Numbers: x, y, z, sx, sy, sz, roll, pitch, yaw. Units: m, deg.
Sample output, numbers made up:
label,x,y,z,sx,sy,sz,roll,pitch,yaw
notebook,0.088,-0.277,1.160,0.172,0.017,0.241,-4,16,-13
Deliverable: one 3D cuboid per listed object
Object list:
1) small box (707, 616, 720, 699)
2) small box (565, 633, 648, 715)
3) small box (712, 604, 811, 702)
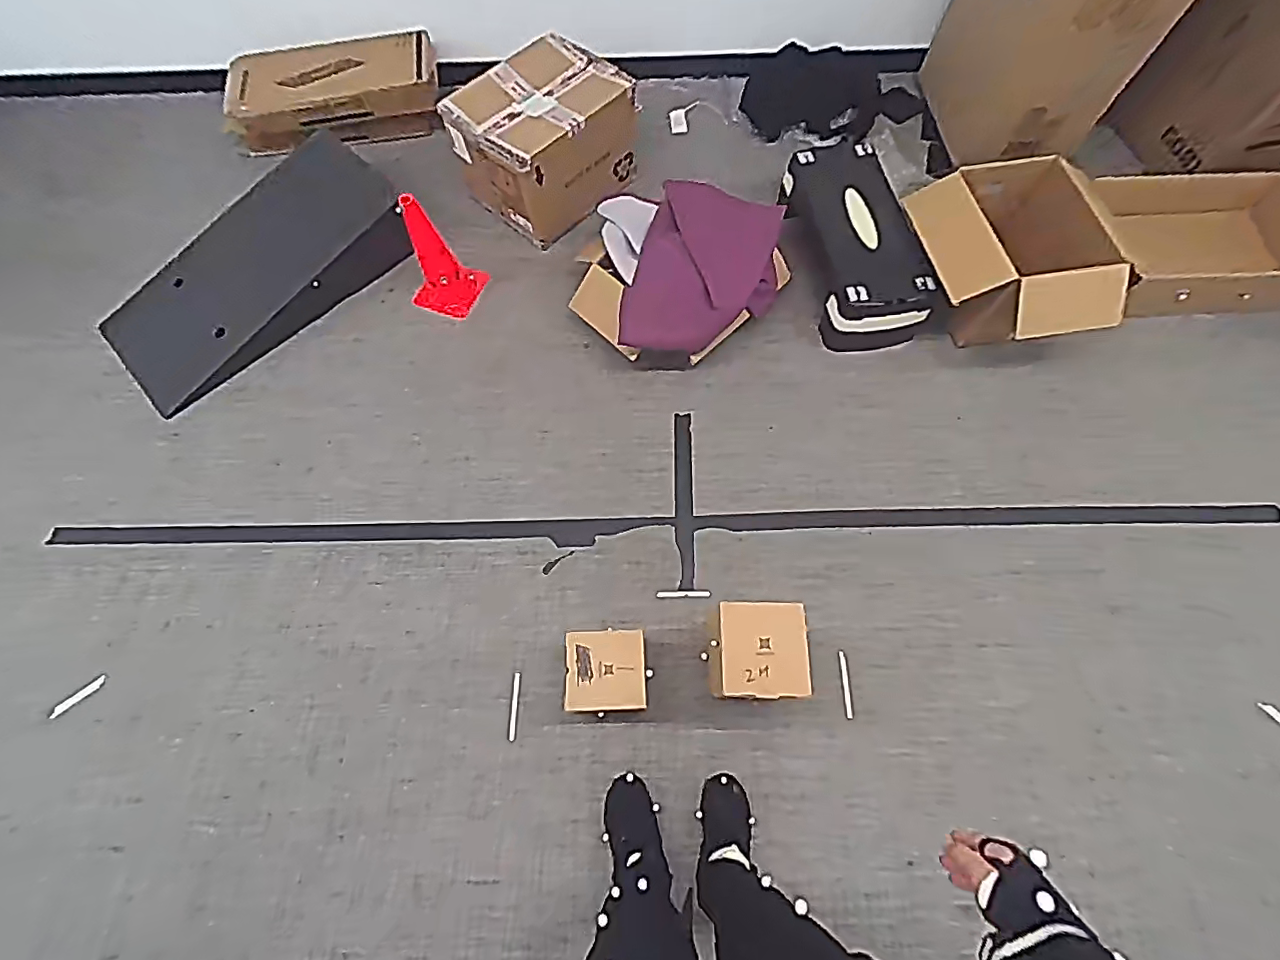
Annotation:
label,x,y,z,sx,sy,sz,roll,pitch,yaw
small box,0.246,0.416,1.261,0.168,0.176,0.179,-1,68,2
small box,-0.073,0.453,1.252,0.179,0.176,0.168,-2,67,0
small box,0.238,0.357,1.105,0.168,0.176,0.179,0,68,2
